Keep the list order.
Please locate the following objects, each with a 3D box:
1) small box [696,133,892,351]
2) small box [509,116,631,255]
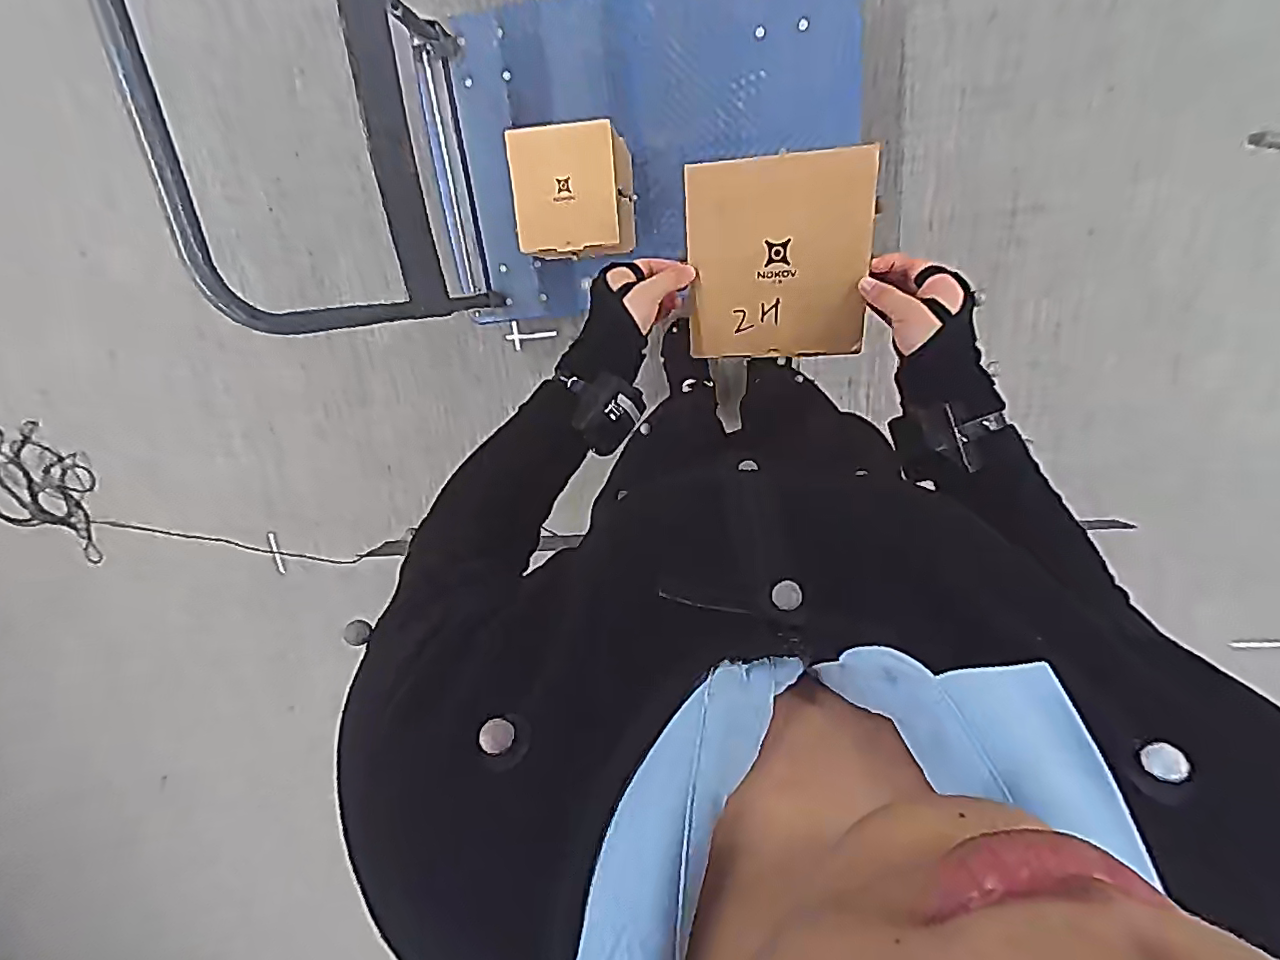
[{"bbox_3d":[0.148,-0.239,0.562,0.168,0.176,0.179,1,115,12],"label":"small box"},{"bbox_3d":[-0.108,-0.481,0.907,0.168,0.176,0.179,-3,110,5],"label":"small box"}]
